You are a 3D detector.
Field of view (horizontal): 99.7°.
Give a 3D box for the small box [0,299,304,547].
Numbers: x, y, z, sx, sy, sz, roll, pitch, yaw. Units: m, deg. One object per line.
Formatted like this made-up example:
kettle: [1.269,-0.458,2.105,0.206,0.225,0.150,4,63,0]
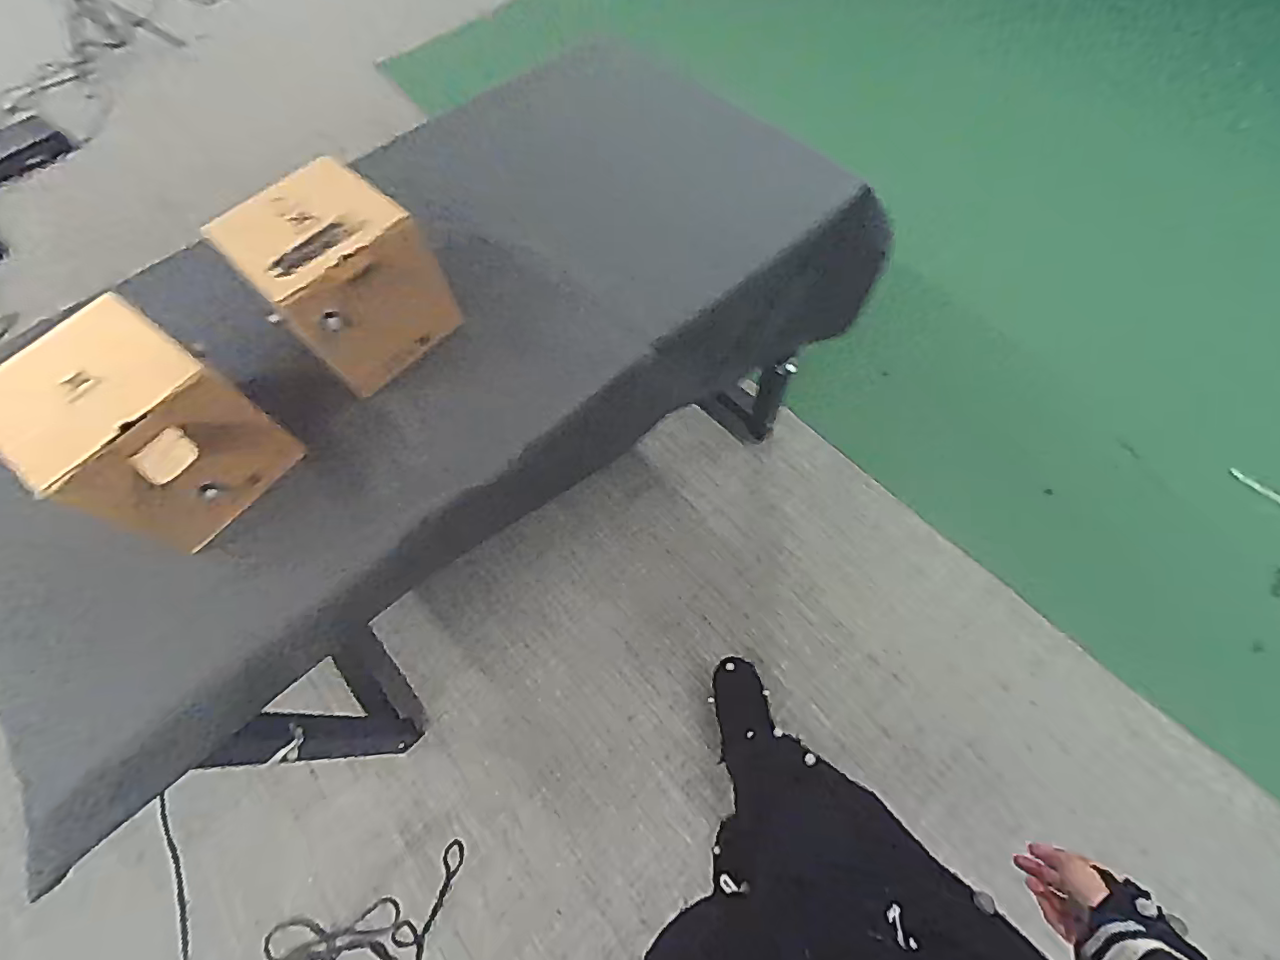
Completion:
small box: [-0.522,-0.052,0.585,0.179,0.176,0.168,33,70,17]
